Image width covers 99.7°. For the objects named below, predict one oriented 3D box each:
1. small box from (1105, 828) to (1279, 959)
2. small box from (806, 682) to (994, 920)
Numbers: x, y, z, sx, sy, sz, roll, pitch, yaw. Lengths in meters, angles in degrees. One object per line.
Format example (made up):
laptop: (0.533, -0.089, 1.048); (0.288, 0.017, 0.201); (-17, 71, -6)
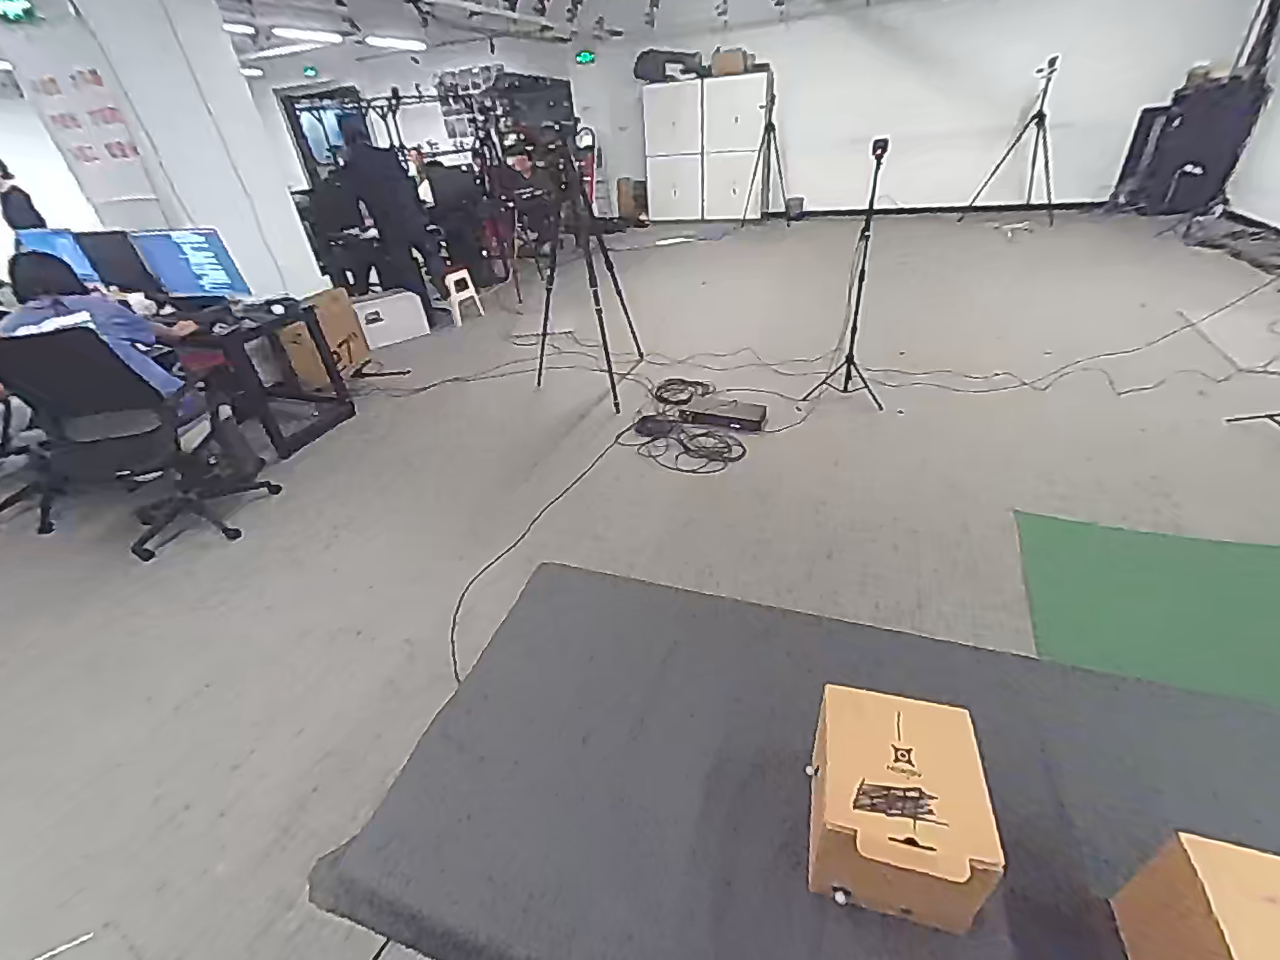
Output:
small box: (0.574, 0.467, 0.487); (0.168, 0.176, 0.179); (7, 34, 17)
small box: (0.295, 0.381, 0.650); (0.168, 0.176, 0.179); (6, 34, 16)
